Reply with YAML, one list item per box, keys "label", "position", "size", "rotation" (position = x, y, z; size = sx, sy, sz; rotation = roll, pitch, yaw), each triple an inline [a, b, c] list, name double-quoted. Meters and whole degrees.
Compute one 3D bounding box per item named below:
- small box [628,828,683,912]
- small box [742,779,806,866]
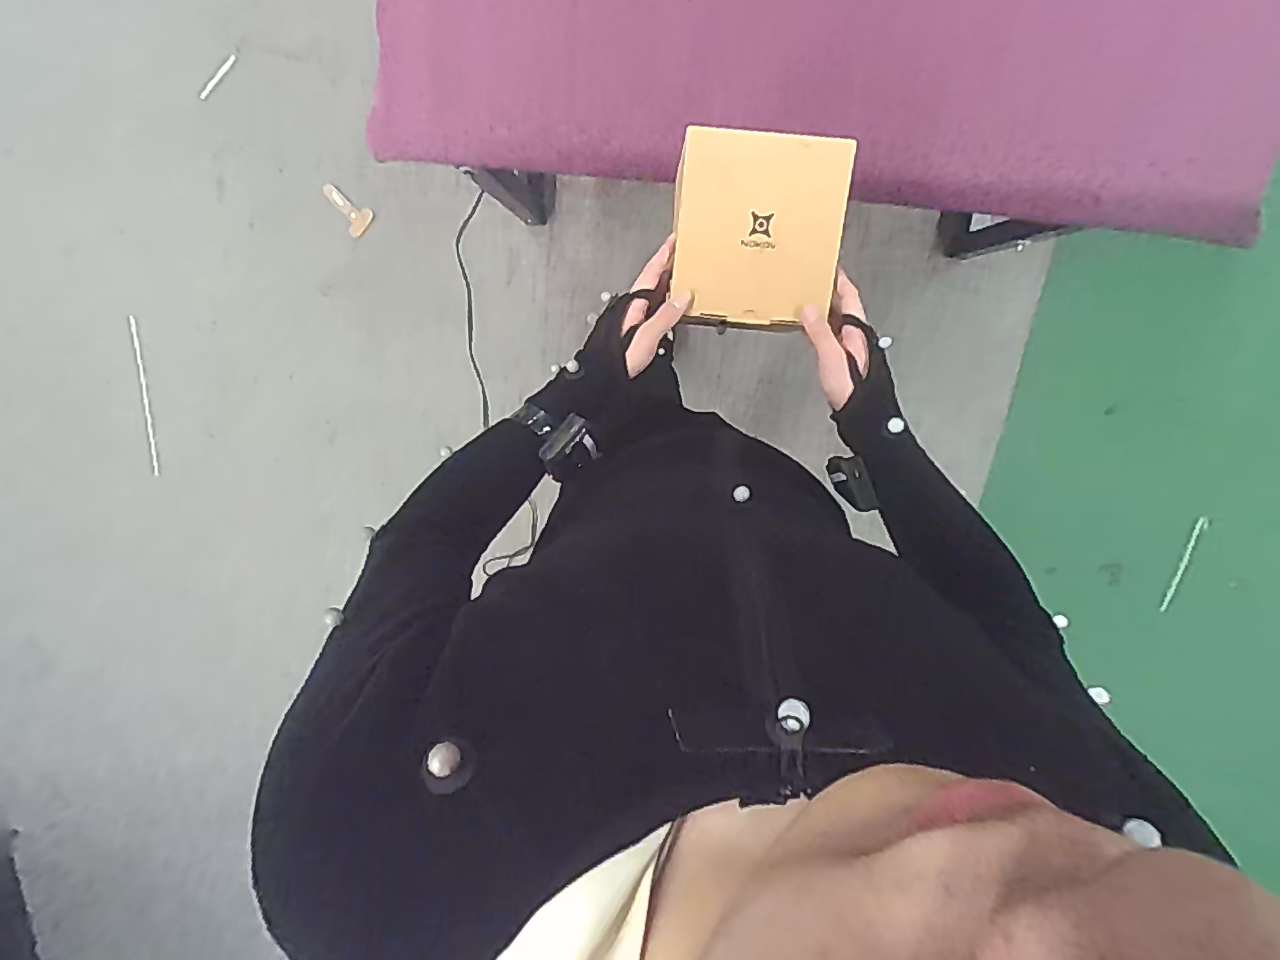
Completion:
- label: "small box"
  position: [0.053, 1.370, 1.910]
  size: [0.168, 0.176, 0.179]
  rotation: [9, 106, 1]
- label: "small box"
  position: [0.446, 1.157, 1.832]
  size: [0.168, 0.176, 0.179]
  rotation: [7, 107, 1]
